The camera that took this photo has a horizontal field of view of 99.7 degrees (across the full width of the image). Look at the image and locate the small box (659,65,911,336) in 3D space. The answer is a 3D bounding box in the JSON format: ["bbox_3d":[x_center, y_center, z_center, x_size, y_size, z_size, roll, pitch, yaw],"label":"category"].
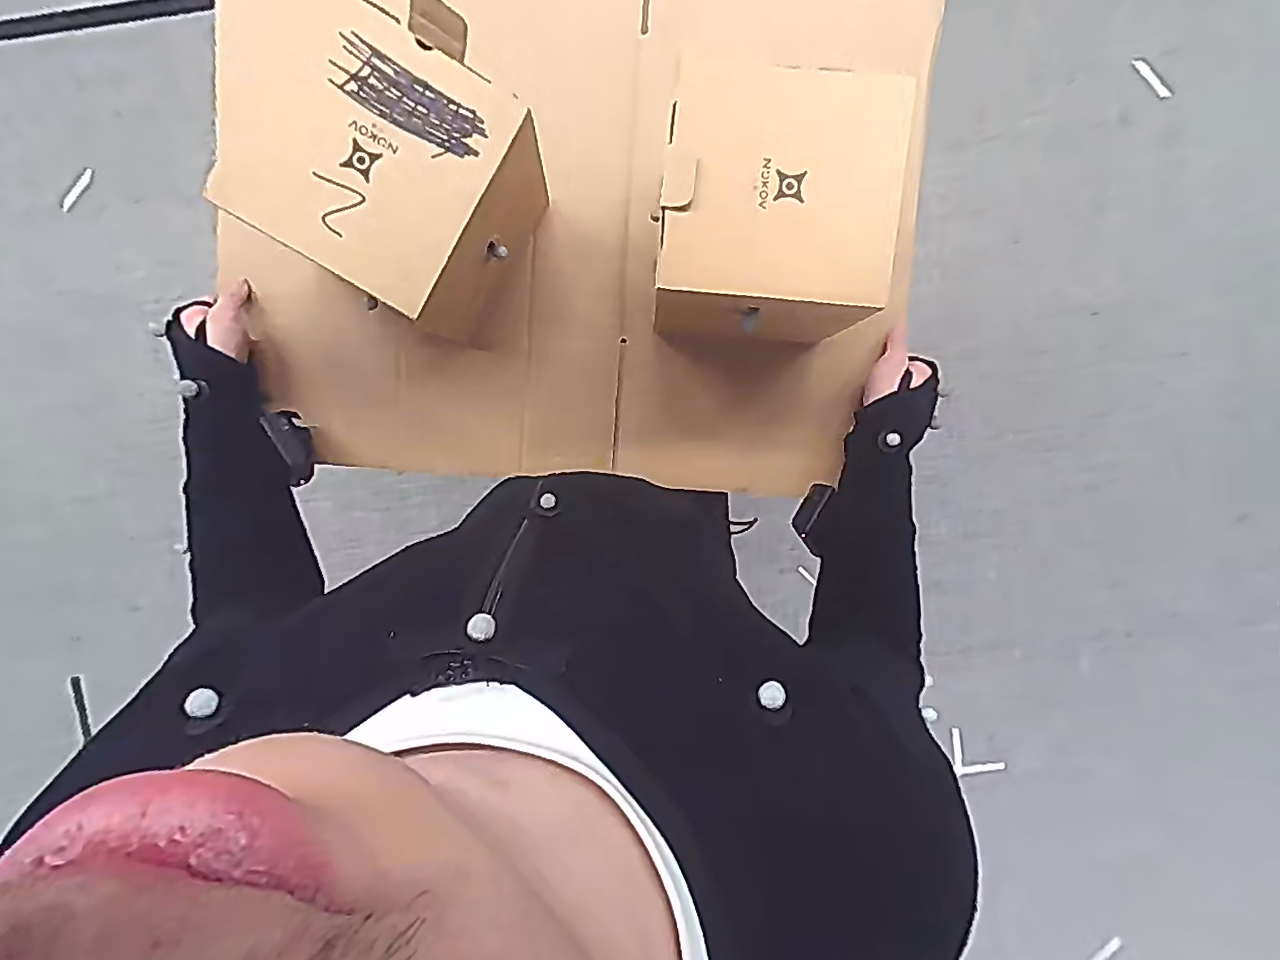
[{"bbox_3d":[0.112,-0.231,0.493,0.179,0.176,0.168,5,95,2],"label":"small box"}]
